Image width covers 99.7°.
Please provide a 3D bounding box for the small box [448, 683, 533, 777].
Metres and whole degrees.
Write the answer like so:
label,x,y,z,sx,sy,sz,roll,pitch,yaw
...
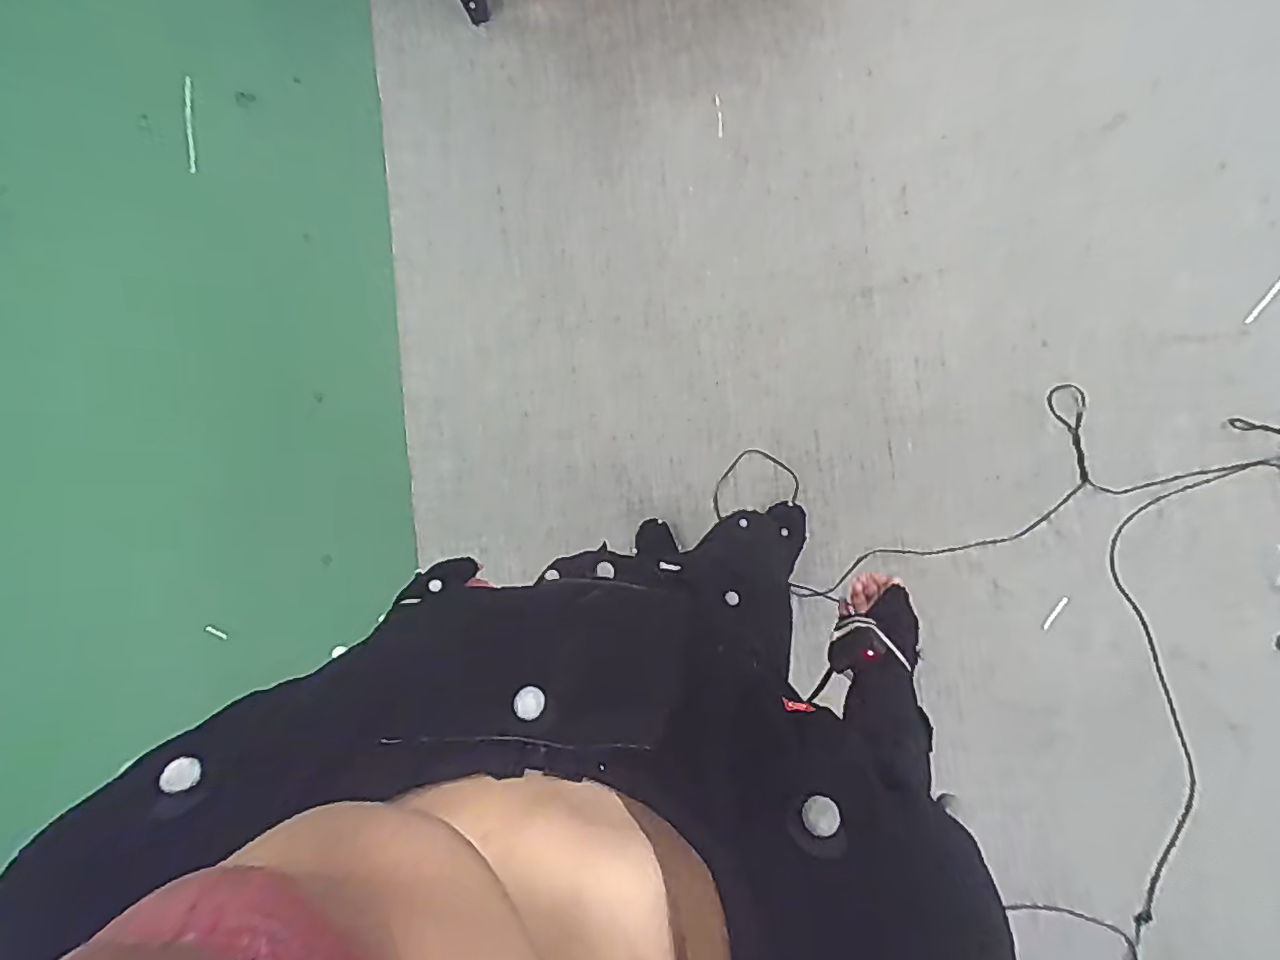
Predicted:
label,x,y,z,sx,sy,sz,roll,pitch,yaw
small box,-0.391,0.657,1.435,0.168,0.176,0.179,-3,86,8
